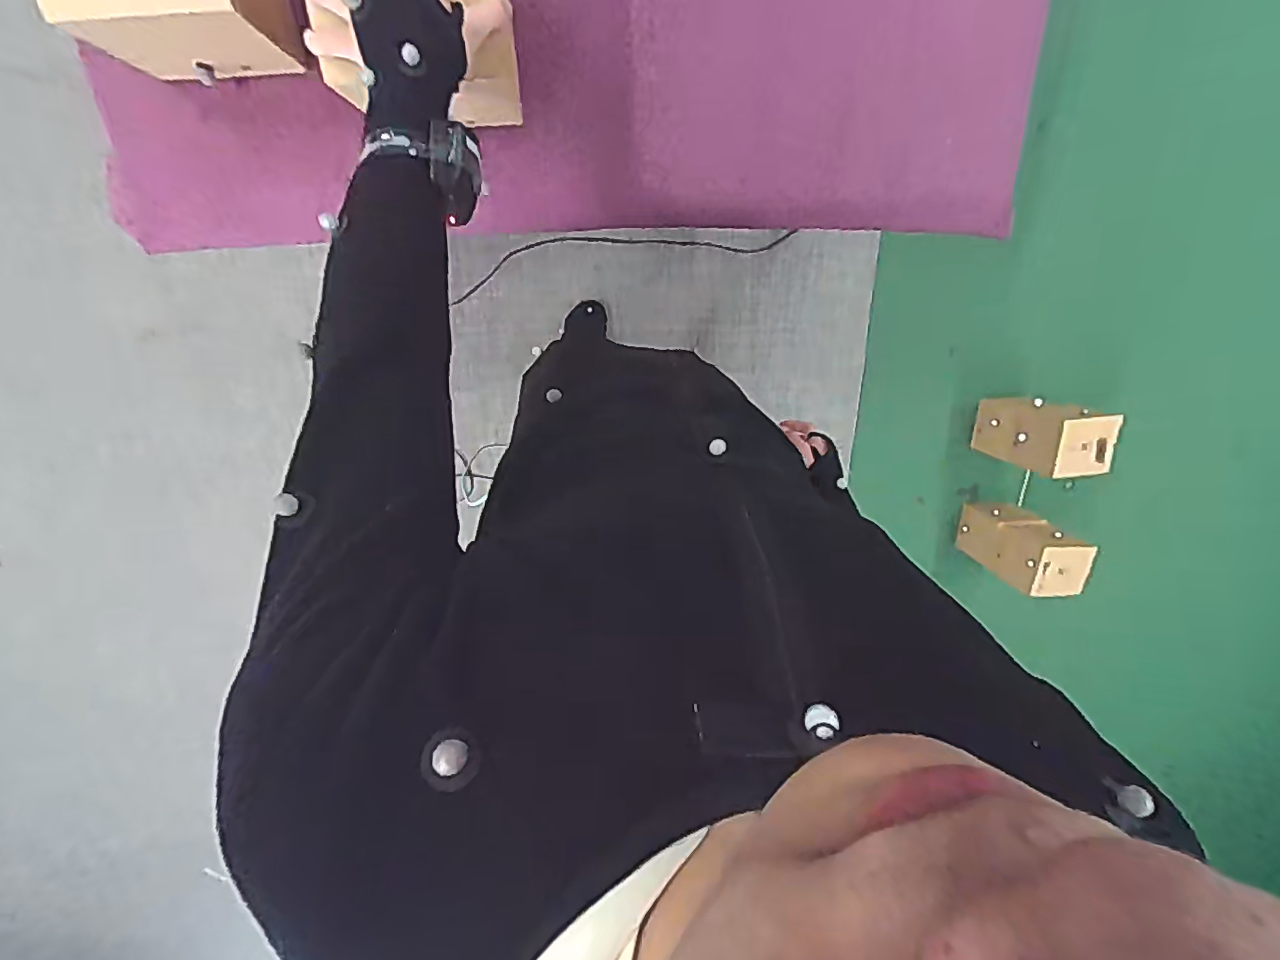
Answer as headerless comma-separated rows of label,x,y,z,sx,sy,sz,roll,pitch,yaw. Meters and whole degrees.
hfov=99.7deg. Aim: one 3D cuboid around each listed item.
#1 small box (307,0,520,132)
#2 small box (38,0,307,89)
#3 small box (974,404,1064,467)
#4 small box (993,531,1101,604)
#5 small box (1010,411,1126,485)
small box,-0.220,-0.475,0.547,0.168,0.176,0.179,-5,111,-4
small box,-0.479,-0.532,0.549,0.168,0.176,0.179,-7,111,-4
small box,1.188,-0.142,1.690,0.179,0.176,0.168,-3,109,-8
small box,1.243,0.264,1.663,0.179,0.176,0.168,0,109,-8
small box,1.202,-0.096,1.532,0.179,0.176,0.168,-5,109,-5
